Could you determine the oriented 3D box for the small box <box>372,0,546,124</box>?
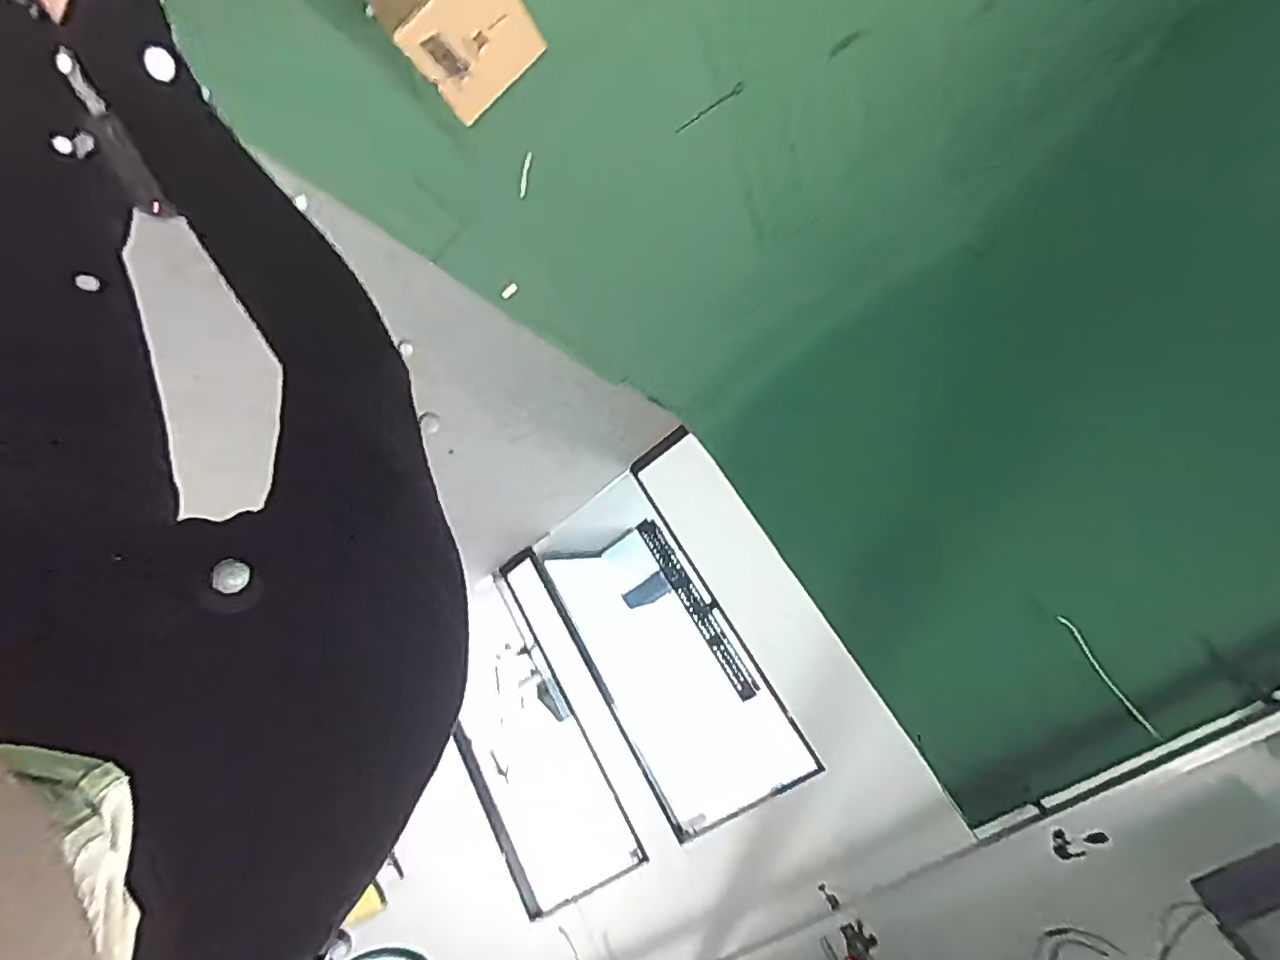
[{"bbox_3d":[-0.281,-0.707,0.820,0.179,0.176,0.168,-36,162,12],"label":"small box"}]
